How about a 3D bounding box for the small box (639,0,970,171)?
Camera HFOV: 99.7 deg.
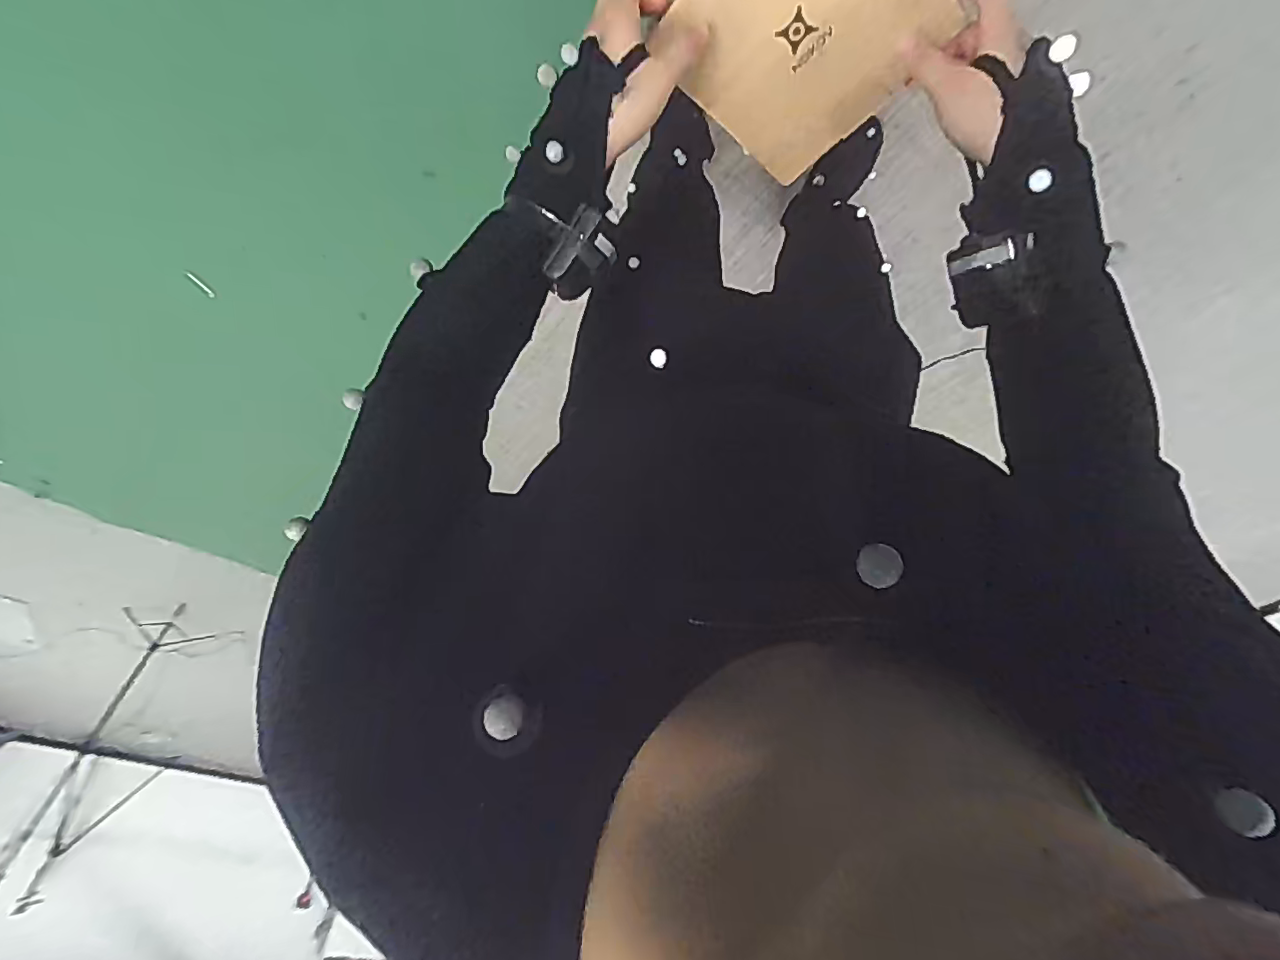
[{"bbox_3d":[0.118,-0.404,0.425,0.179,0.176,0.168,22,147,-32],"label":"small box"}]
